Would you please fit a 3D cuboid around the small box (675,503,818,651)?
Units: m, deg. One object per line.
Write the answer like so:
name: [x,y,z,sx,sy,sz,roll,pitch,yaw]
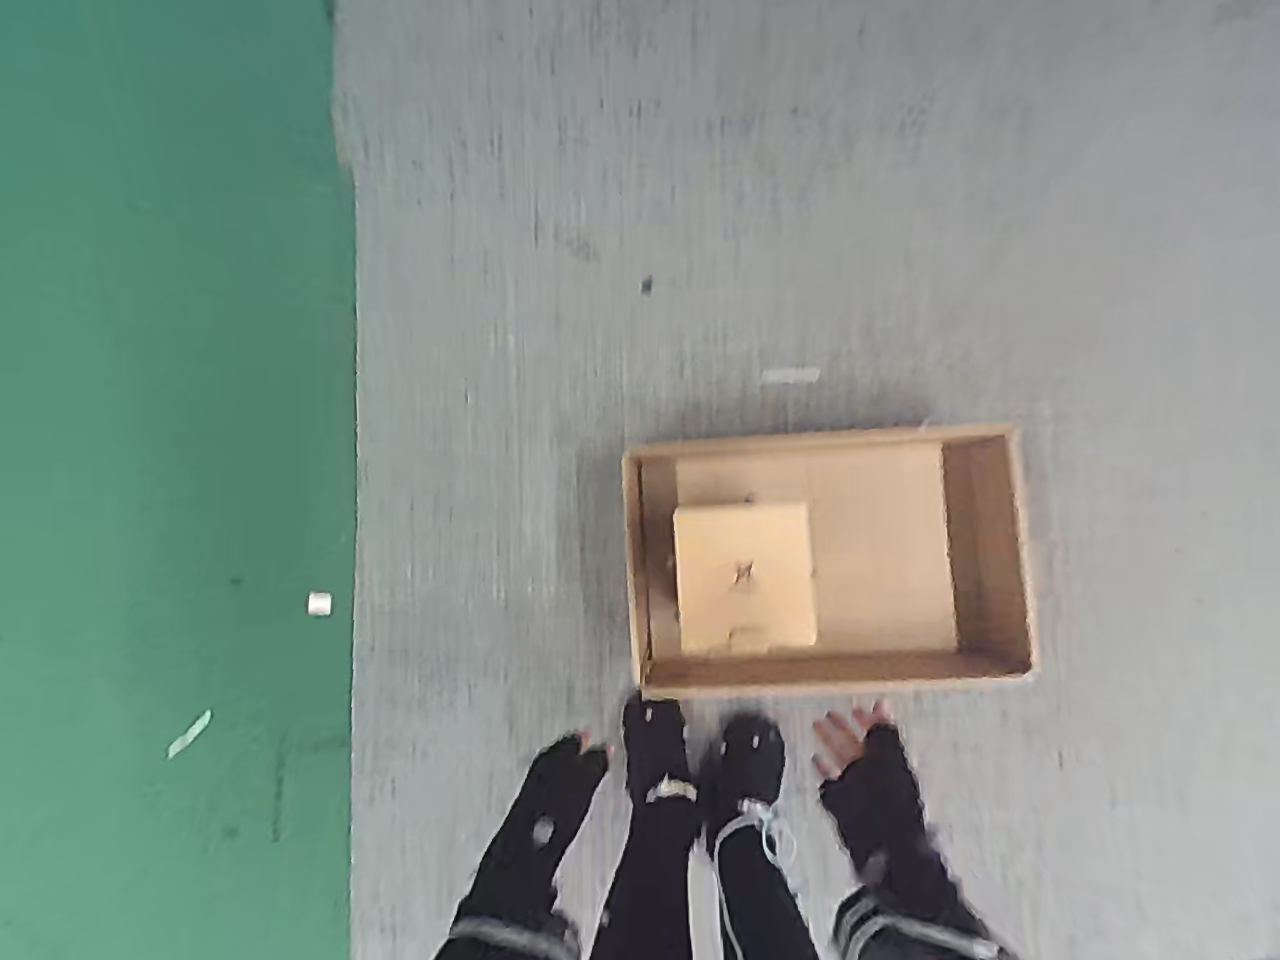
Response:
small box: [0.134,0.126,0.742,0.168,0.176,0.179,-3,86,3]
